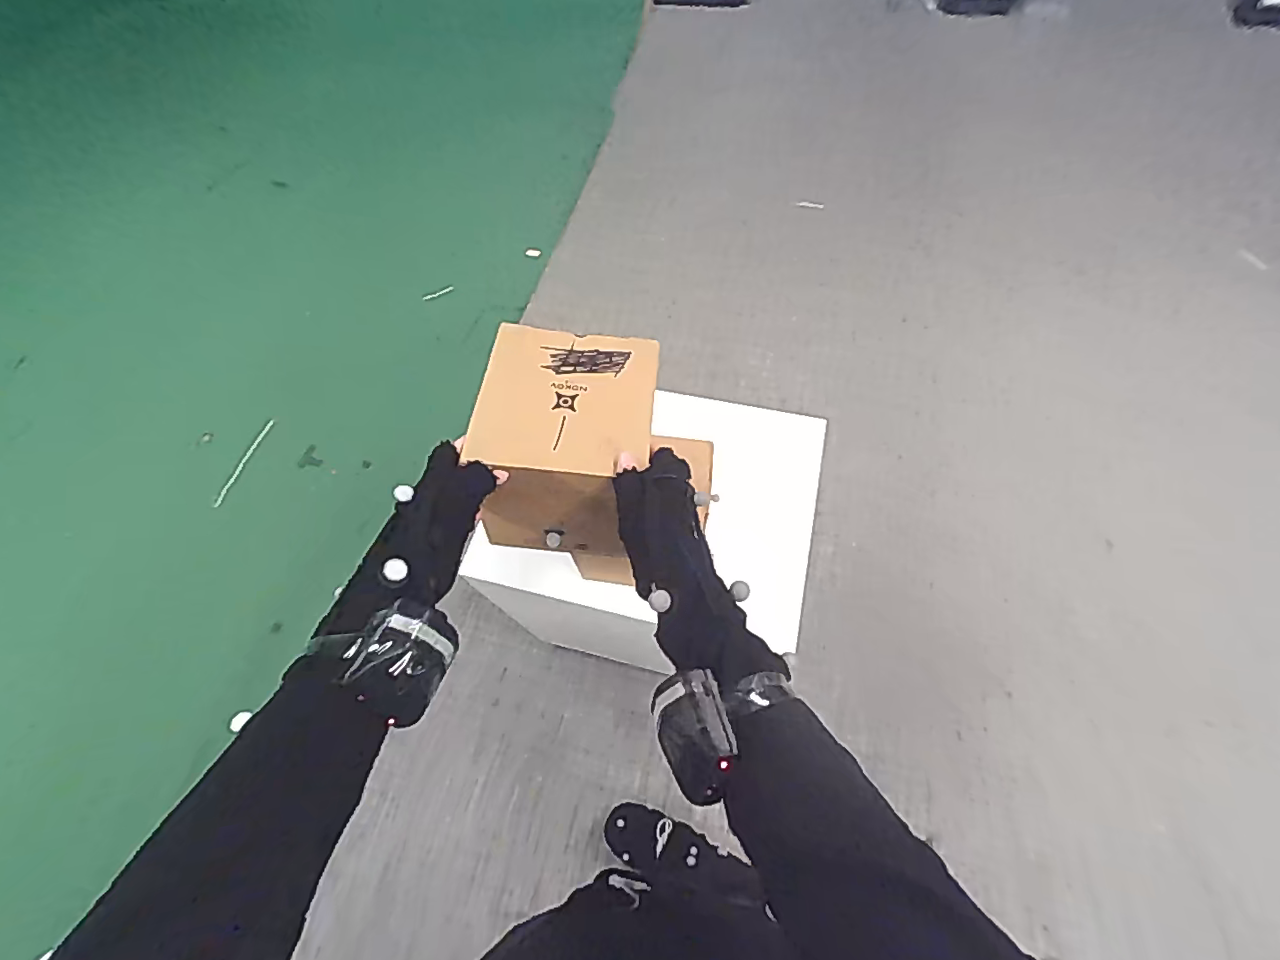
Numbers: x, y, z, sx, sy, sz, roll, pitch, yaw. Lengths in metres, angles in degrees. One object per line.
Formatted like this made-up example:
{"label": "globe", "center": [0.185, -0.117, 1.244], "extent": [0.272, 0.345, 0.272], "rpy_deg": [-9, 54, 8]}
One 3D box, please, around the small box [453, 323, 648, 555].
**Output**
{"label": "small box", "center": [-0.081, -0.039, 0.571], "extent": [0.168, 0.176, 0.179], "rpy_deg": [3, 57, -2]}

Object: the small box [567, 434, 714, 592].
{"label": "small box", "center": [0.006, 0.049, 0.754], "extent": [0.179, 0.176, 0.168], "rpy_deg": [5, 62, 9]}
